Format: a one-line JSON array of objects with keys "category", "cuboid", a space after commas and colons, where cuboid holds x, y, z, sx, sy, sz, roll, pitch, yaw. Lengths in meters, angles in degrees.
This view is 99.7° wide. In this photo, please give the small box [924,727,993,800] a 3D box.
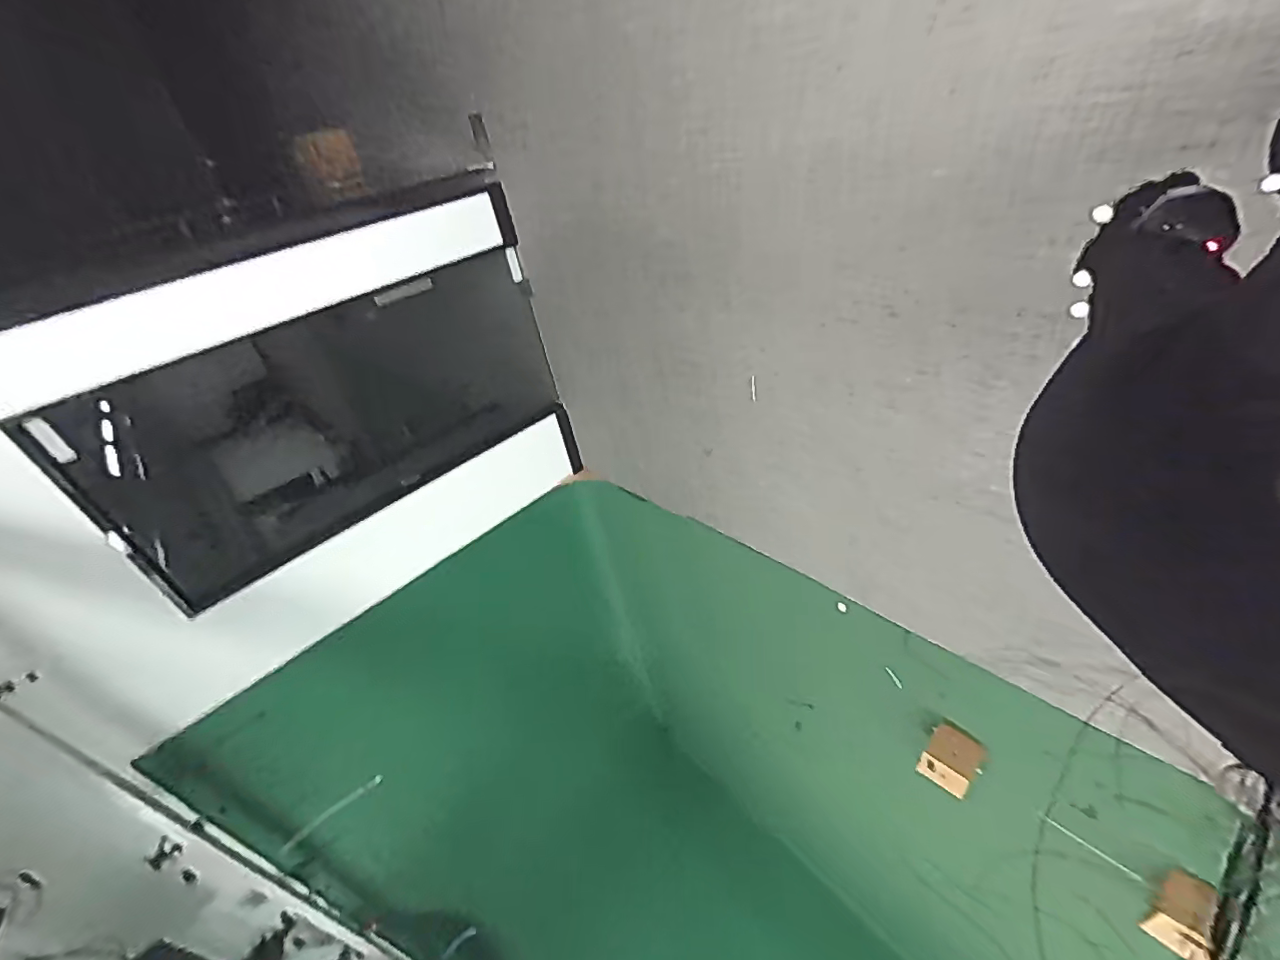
[{"category": "small box", "cuboid": [1.290, 1.138, 2.190, 0.179, 0.176, 0.168, 27, 141, 39]}]
